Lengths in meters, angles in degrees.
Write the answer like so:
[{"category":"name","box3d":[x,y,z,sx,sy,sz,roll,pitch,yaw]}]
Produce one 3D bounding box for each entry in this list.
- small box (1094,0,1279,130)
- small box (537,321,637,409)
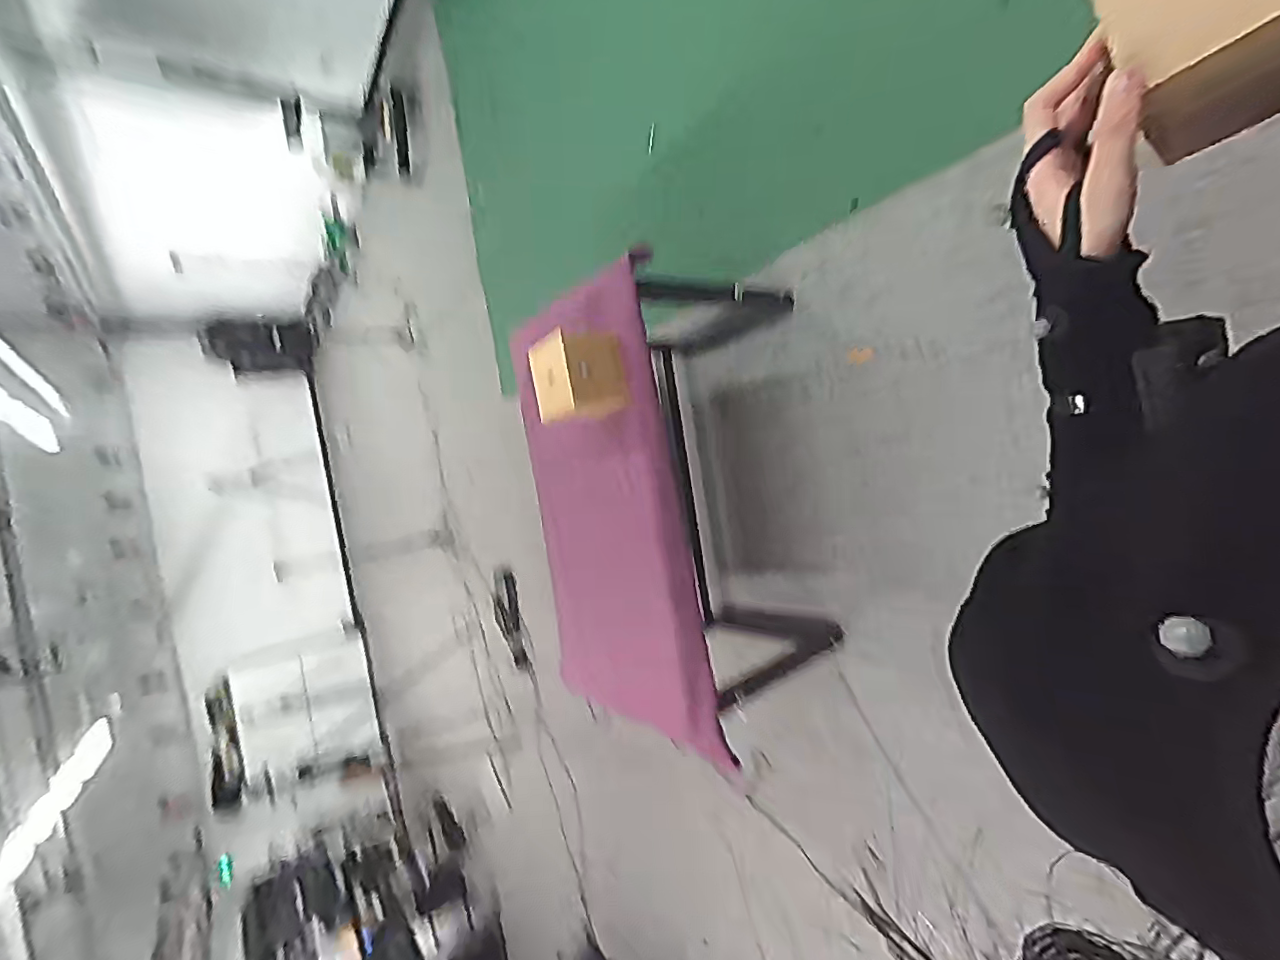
[{"category":"small box","box3d":[0.352,-0.324,0.287,0.168,0.176,0.179,-19,84,50]},{"category":"small box","box3d":[-0.131,-0.283,1.346,0.168,0.176,0.179,-11,92,52]}]
